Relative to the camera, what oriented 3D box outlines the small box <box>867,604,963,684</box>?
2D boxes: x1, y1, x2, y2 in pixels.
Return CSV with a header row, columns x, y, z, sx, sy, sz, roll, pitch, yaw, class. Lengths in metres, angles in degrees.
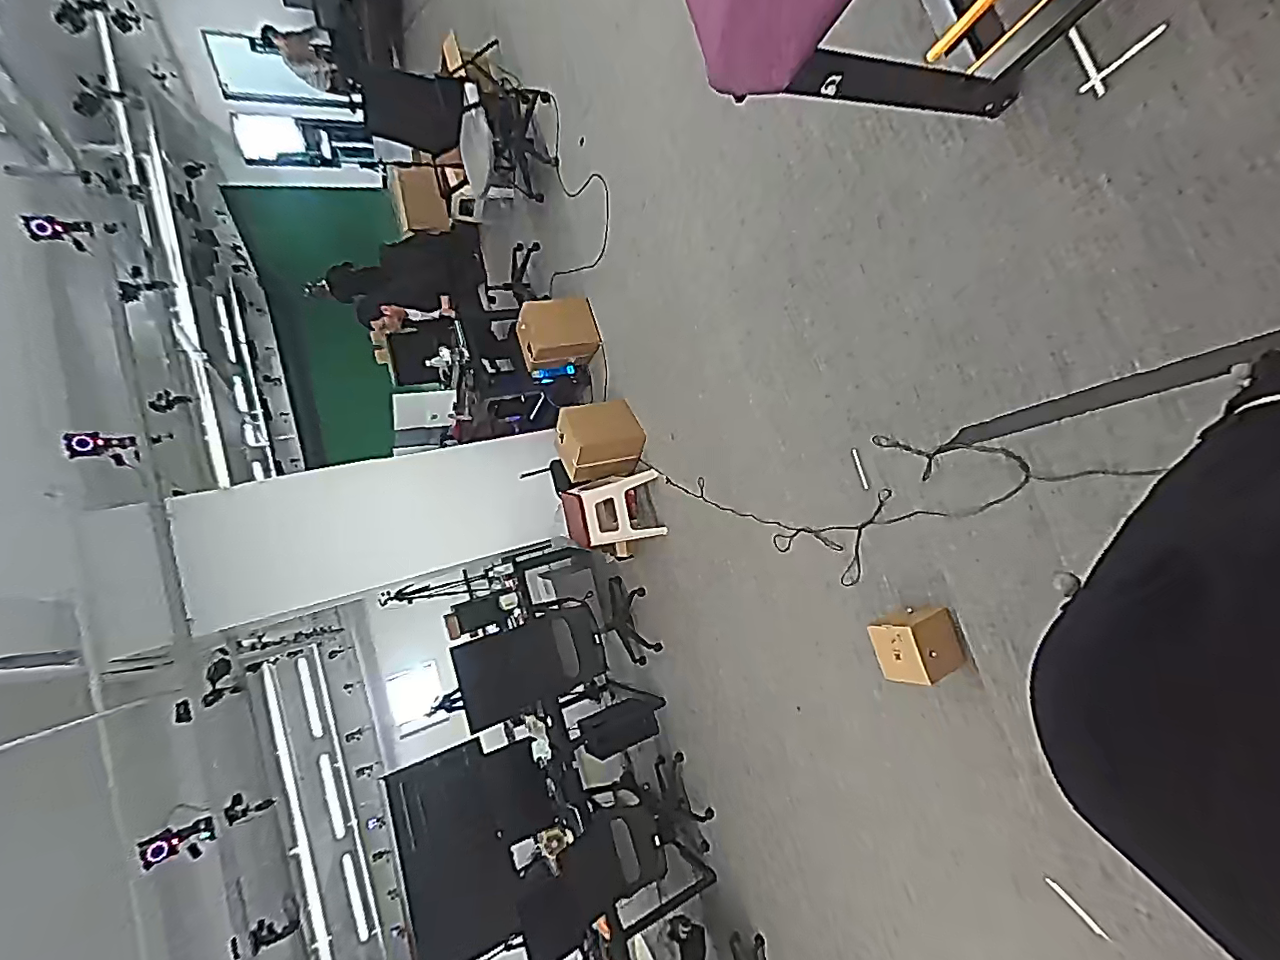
x,y,z,sx,sy,sz,roll,pitch,yaw,class
0.834,0.490,1.636,0.168,0.176,0.179,-28,78,63,small box
